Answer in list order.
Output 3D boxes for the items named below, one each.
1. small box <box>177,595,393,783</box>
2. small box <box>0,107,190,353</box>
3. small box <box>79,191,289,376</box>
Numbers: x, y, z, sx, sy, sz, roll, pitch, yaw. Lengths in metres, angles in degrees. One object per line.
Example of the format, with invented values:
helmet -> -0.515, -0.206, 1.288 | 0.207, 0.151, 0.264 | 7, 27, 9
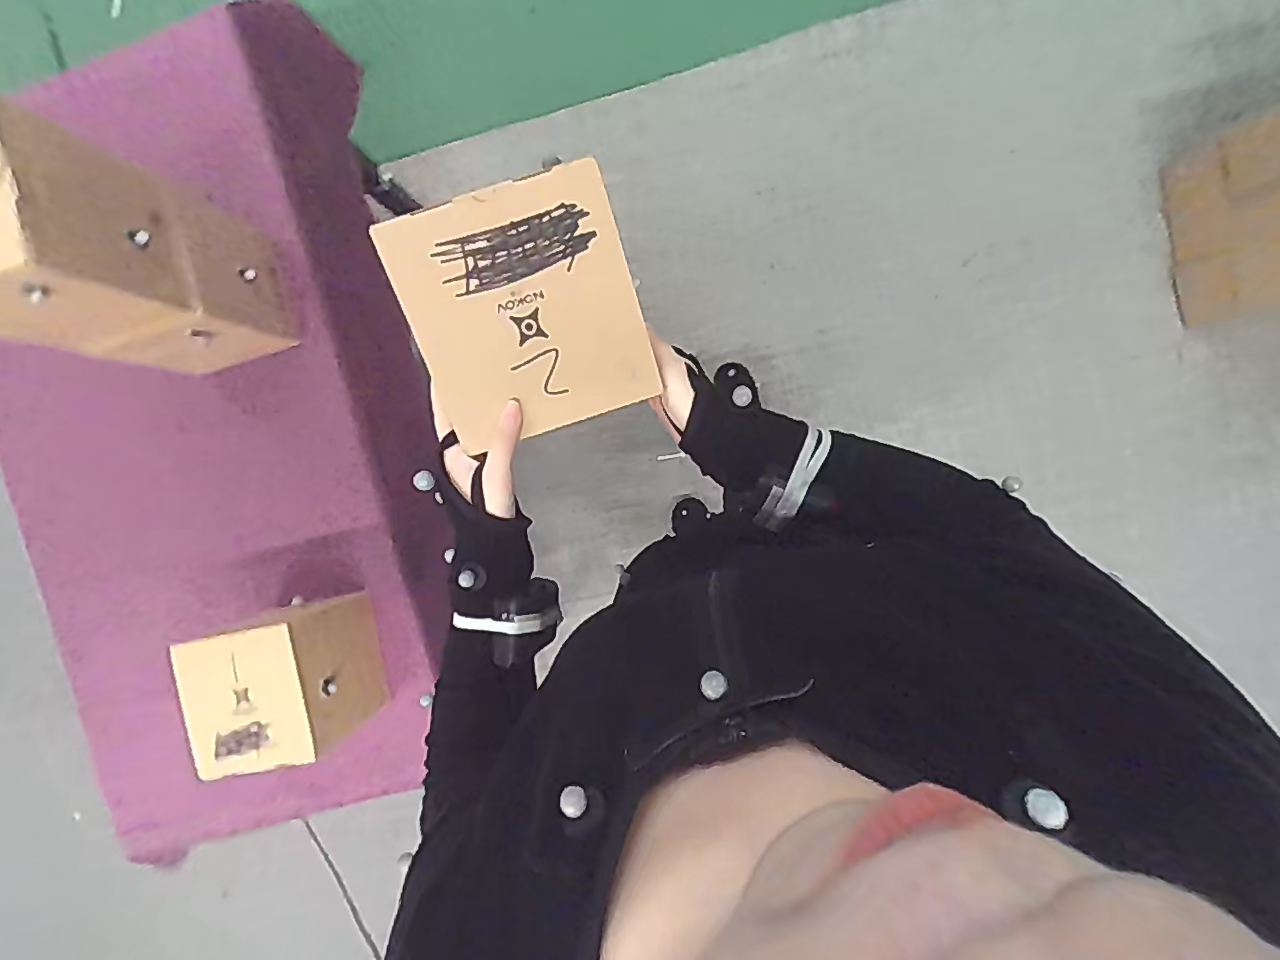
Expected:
small box -> -0.471, 0.276, 0.746 | 0.168, 0.176, 0.179 | -13, 91, 6
small box -> -0.642, -0.246, 0.572 | 0.179, 0.176, 0.168 | -15, 91, 5
small box -> -0.618, -0.250, 0.734 | 0.179, 0.176, 0.168 | -16, 91, 6
